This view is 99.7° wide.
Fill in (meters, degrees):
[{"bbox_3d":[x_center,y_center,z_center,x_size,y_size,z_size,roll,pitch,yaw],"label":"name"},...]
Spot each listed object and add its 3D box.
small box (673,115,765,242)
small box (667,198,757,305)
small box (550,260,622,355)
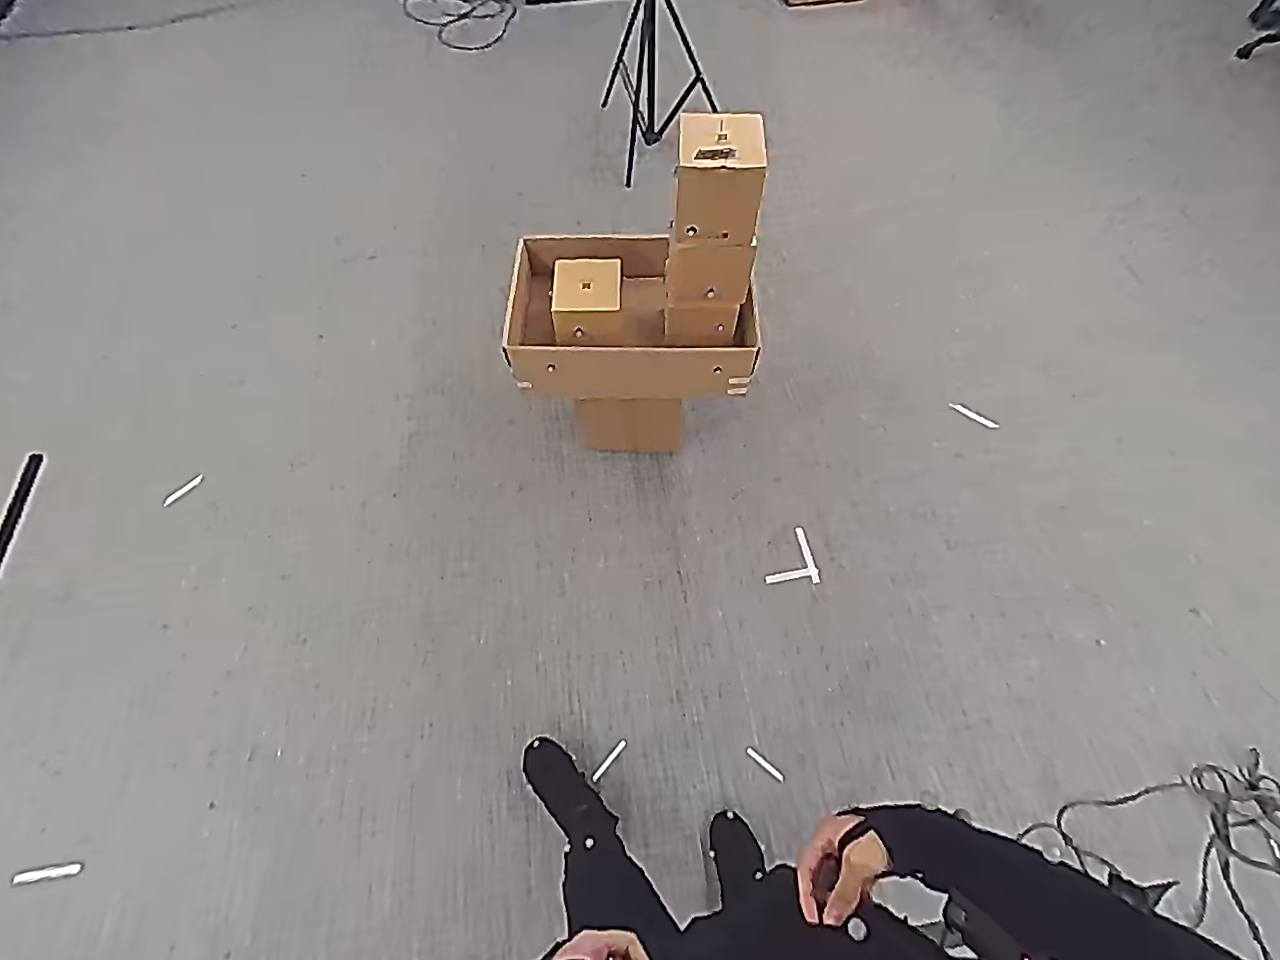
[{"bbox_3d":[0.156,-0.610,1.104,0.168,0.176,0.179,2,62,1],"label":"small box"},{"bbox_3d":[0.158,-0.522,1.244,0.179,0.176,0.168,-1,63,-1],"label":"small box"},{"bbox_3d":[-0.131,-0.438,1.392,0.168,0.176,0.179,-1,62,0],"label":"small box"}]
